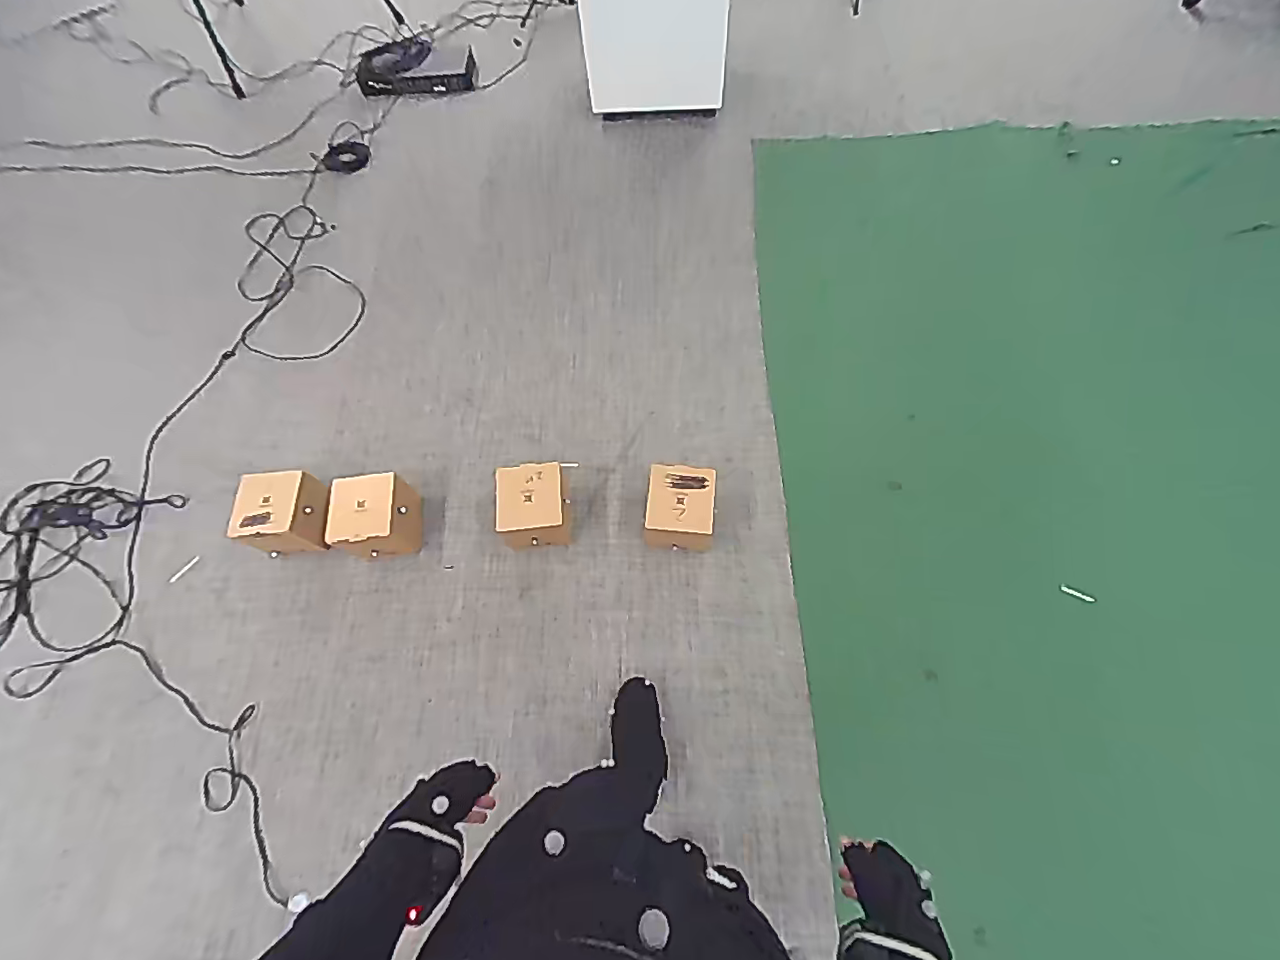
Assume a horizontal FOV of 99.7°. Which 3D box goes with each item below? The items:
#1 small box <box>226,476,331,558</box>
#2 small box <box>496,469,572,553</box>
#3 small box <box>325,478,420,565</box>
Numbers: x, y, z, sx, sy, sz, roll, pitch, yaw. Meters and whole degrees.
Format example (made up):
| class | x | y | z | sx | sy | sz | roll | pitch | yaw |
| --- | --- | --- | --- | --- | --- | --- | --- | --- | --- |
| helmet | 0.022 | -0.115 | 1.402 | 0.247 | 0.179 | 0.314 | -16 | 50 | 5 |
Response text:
| class | x | y | z | sx | sy | sz | roll | pitch | yaw |
| --- | --- | --- | --- | --- | --- | --- | --- | --- | --- |
| small box | -0.956 | 0.106 | 1.454 | 0.168 | 0.176 | 0.179 | -4 | 65 | 1 |
| small box | -0.275 | 0.089 | 1.424 | 0.168 | 0.176 | 0.179 | -6 | 66 | -1 |
| small box | -0.701 | 0.114 | 1.437 | 0.168 | 0.176 | 0.179 | -7 | 67 | 1 |
